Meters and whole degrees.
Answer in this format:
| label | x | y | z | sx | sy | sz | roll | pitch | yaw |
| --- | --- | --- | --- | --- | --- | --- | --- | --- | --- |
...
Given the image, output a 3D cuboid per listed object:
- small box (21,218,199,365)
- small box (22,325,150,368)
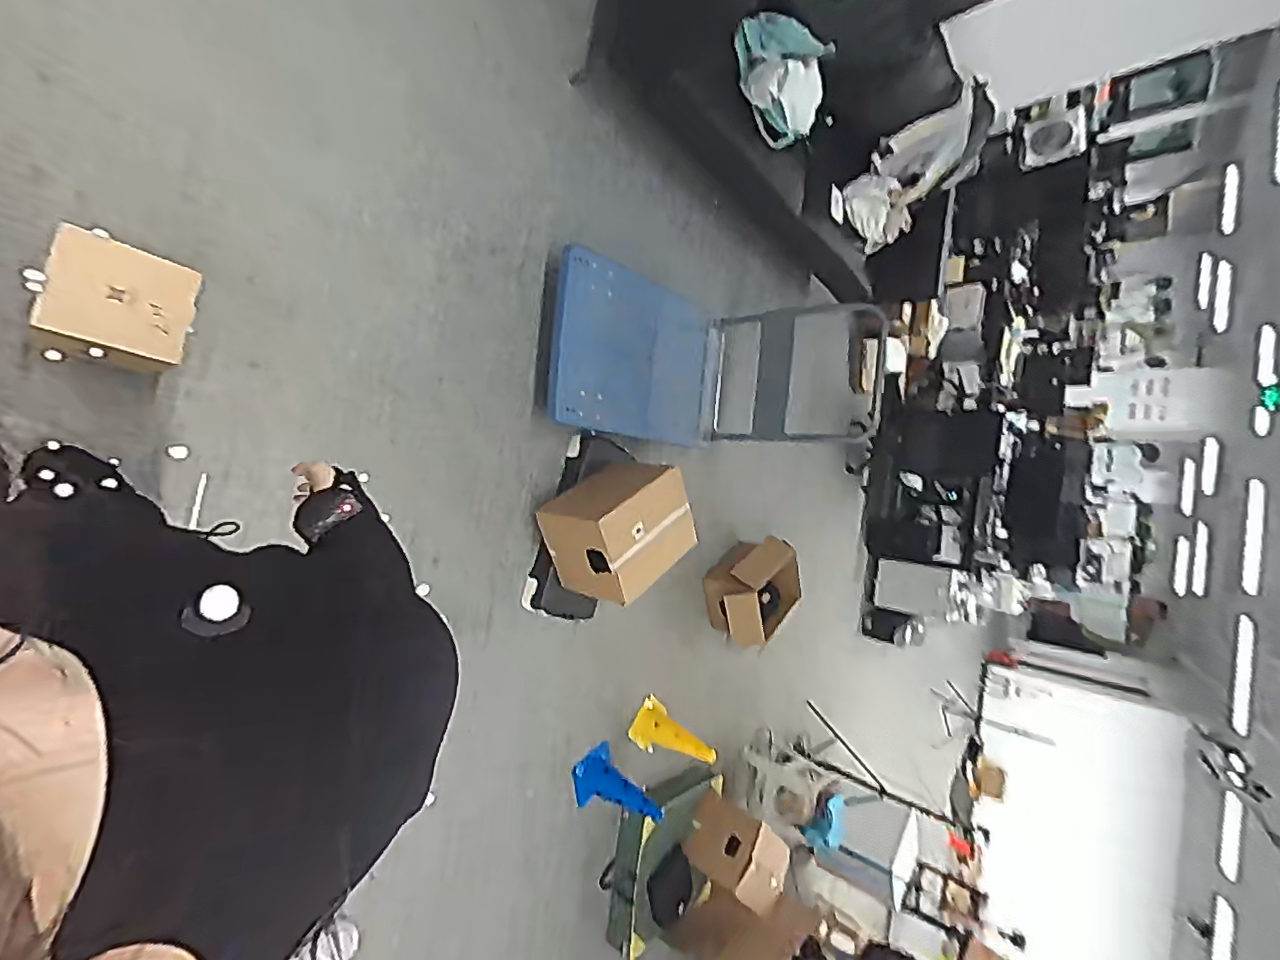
| label | x | y | z | sx | sy | sz | roll | pitch | yaw |
| --- | --- | --- | --- | --- | --- | --- | --- | --- | --- |
| small box | -0.883 | -0.298 | 0.903 | 0.179 | 0.176 | 0.168 | 17 | 82 | -49 |
| small box | -1.008 | -0.318 | 1.010 | 0.168 | 0.176 | 0.179 | 16 | 81 | -49 |
